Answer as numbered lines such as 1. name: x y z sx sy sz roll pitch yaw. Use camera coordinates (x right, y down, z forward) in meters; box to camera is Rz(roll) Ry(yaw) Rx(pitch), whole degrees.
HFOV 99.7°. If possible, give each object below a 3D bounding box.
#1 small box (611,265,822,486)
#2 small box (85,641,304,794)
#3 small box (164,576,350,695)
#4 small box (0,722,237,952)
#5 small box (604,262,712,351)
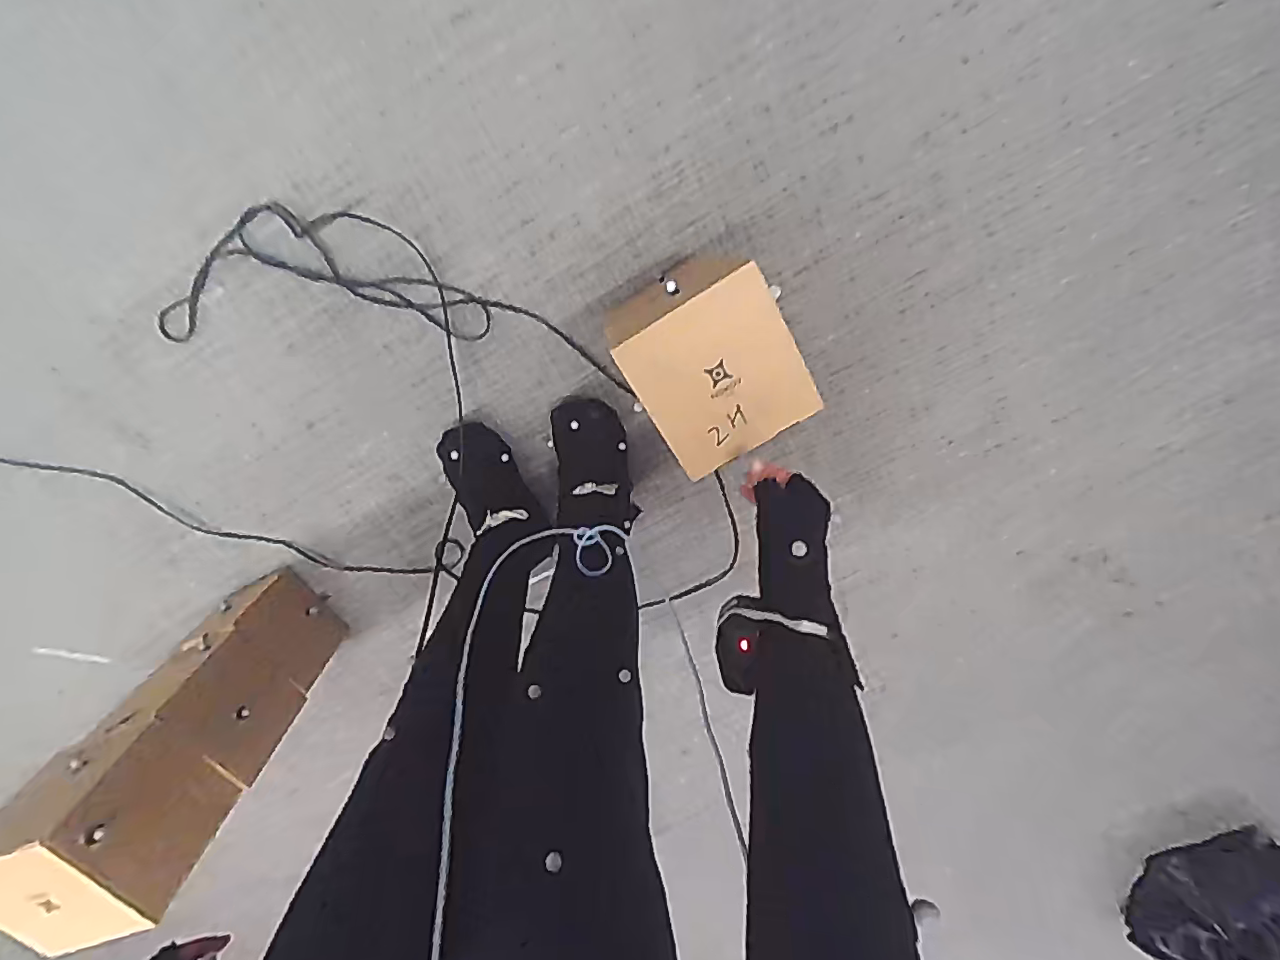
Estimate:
1. small box: 0.077 -0.130 0.627 0.168 0.176 0.179 -29 113 11
2. small box: -0.678 0.376 0.837 0.168 0.176 0.179 -25 115 10
3. small box: -0.682 0.298 0.985 0.168 0.176 0.179 -27 112 14
4. small box: -0.680 0.449 0.692 0.168 0.176 0.179 -20 114 7
5. small box: 0.063 -0.193 0.778 0.168 0.176 0.179 -29 113 11
